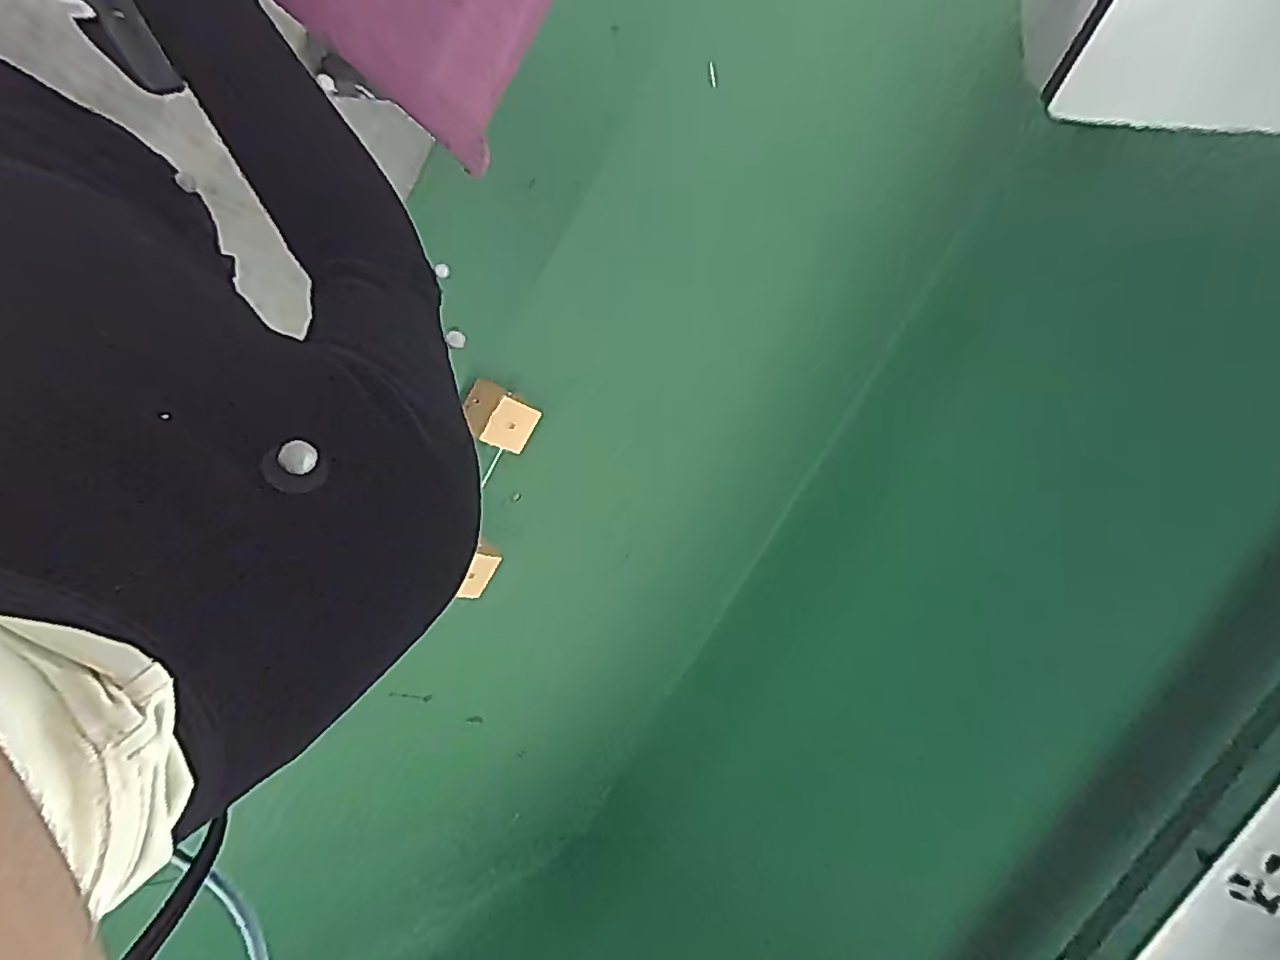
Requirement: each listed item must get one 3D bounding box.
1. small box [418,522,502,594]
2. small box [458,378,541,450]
[{"bbox_3d":[-0.602,0.259,1.804,0.179,0.176,0.168,24,99,-52],"label":"small box"},{"bbox_3d":[-0.480,-0.226,1.839,0.179,0.176,0.168,22,101,-51],"label":"small box"}]
